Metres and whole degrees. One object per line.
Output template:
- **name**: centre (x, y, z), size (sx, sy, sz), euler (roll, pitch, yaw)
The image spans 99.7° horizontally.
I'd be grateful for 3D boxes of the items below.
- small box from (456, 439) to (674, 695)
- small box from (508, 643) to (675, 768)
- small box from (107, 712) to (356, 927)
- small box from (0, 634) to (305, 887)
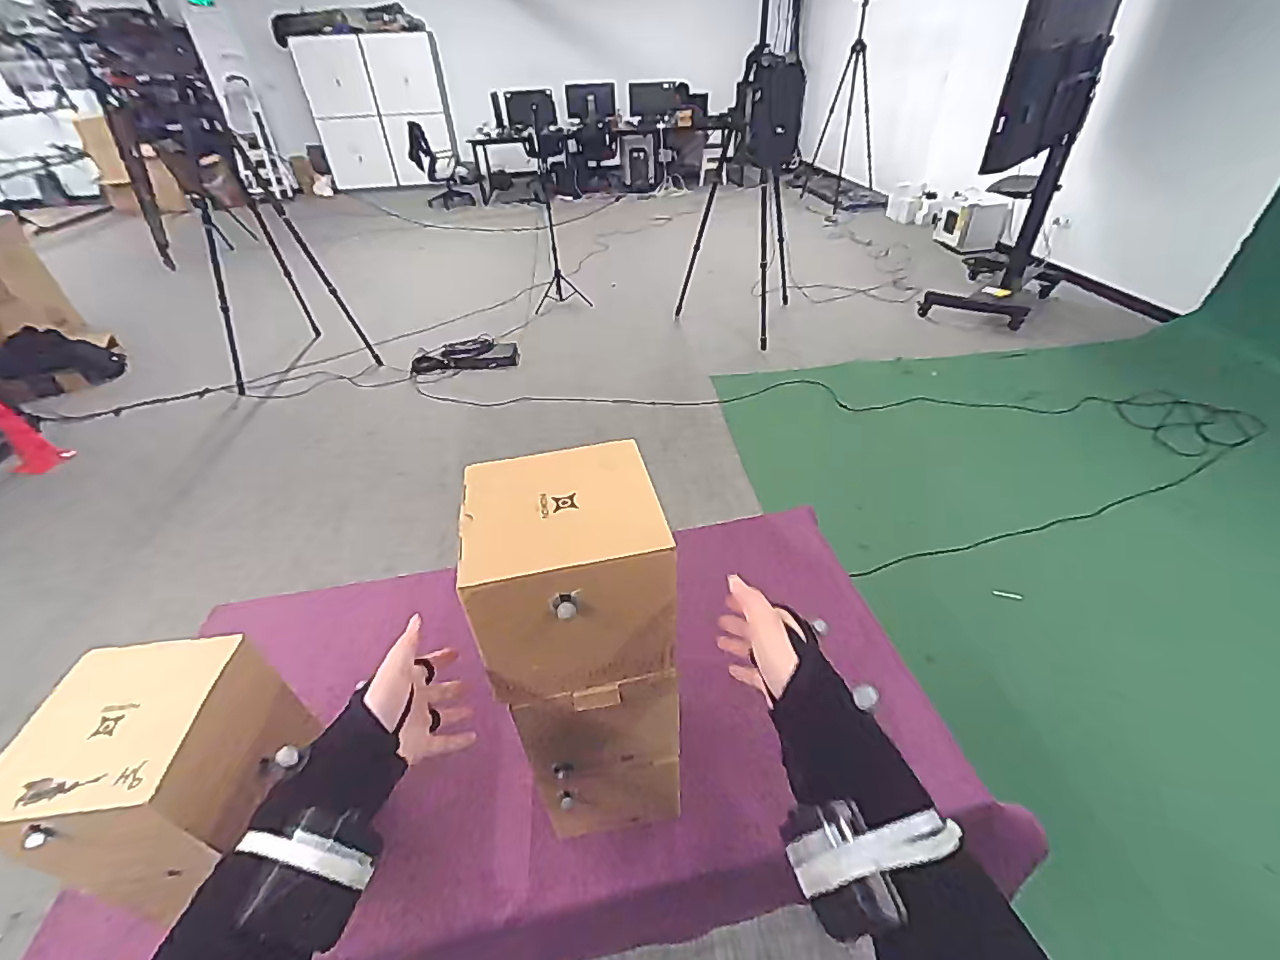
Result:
- **small box**: centre (-0.069, 0.084, 0.538), size (0.179, 0.176, 0.168), euler (-11, 38, -7)
- **small box**: centre (-0.056, 0.213, 0.637), size (0.168, 0.176, 0.179), euler (-9, 37, -7)
- **small box**: centre (-0.485, 0.422, 0.677), size (0.168, 0.176, 0.179), euler (-6, 39, -2)
- **small box**: centre (-0.495, 0.293, 0.574), size (0.168, 0.176, 0.179), euler (-7, 37, -1)
